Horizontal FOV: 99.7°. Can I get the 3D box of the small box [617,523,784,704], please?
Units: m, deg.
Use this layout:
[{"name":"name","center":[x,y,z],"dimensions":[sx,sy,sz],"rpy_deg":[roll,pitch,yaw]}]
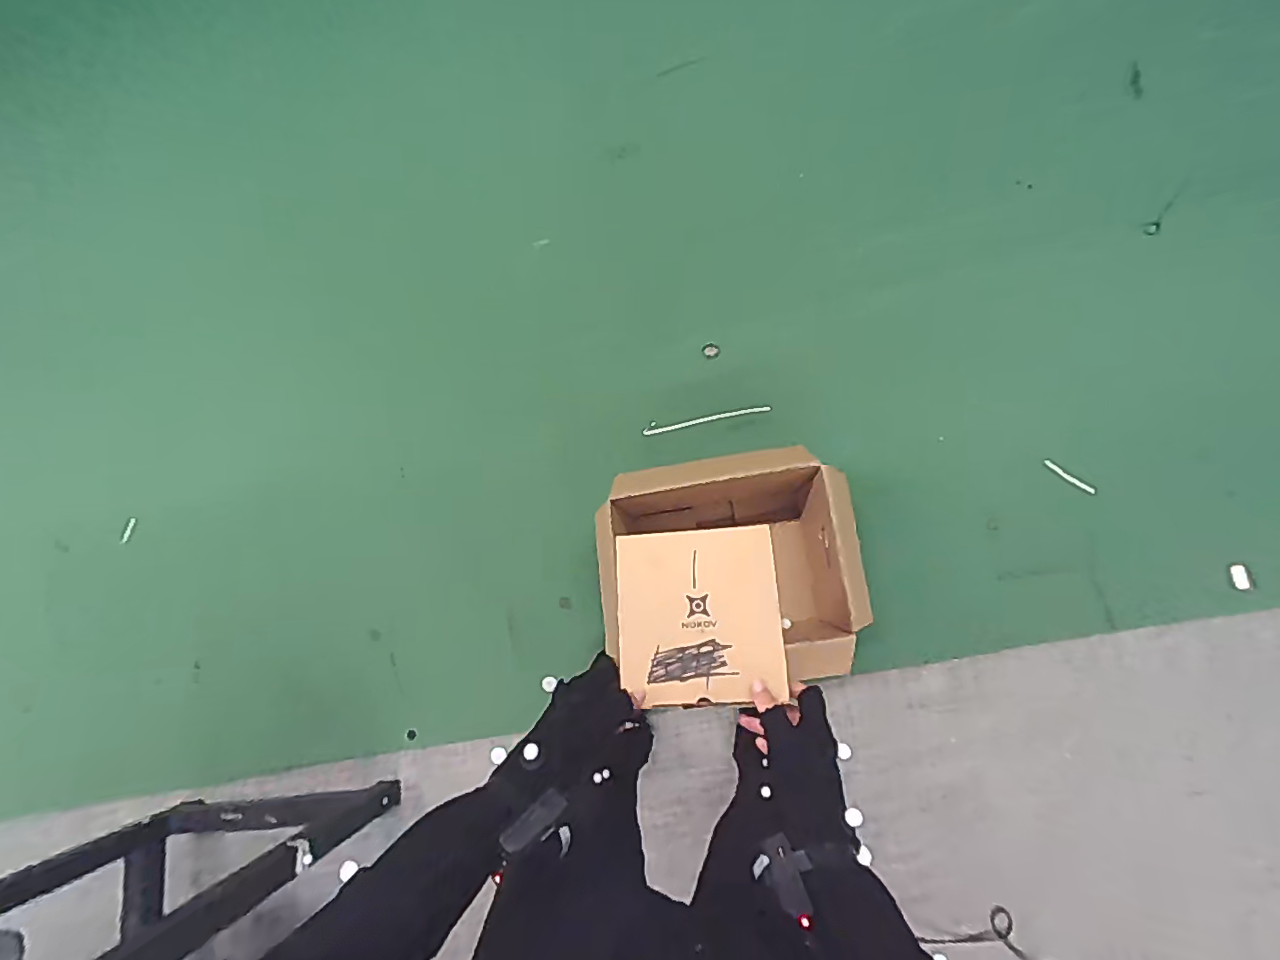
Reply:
[{"name":"small box","center":[0.071,0.155,0.626],"dimensions":[0.168,0.176,0.179],"rpy_deg":[-5,73,8]}]
